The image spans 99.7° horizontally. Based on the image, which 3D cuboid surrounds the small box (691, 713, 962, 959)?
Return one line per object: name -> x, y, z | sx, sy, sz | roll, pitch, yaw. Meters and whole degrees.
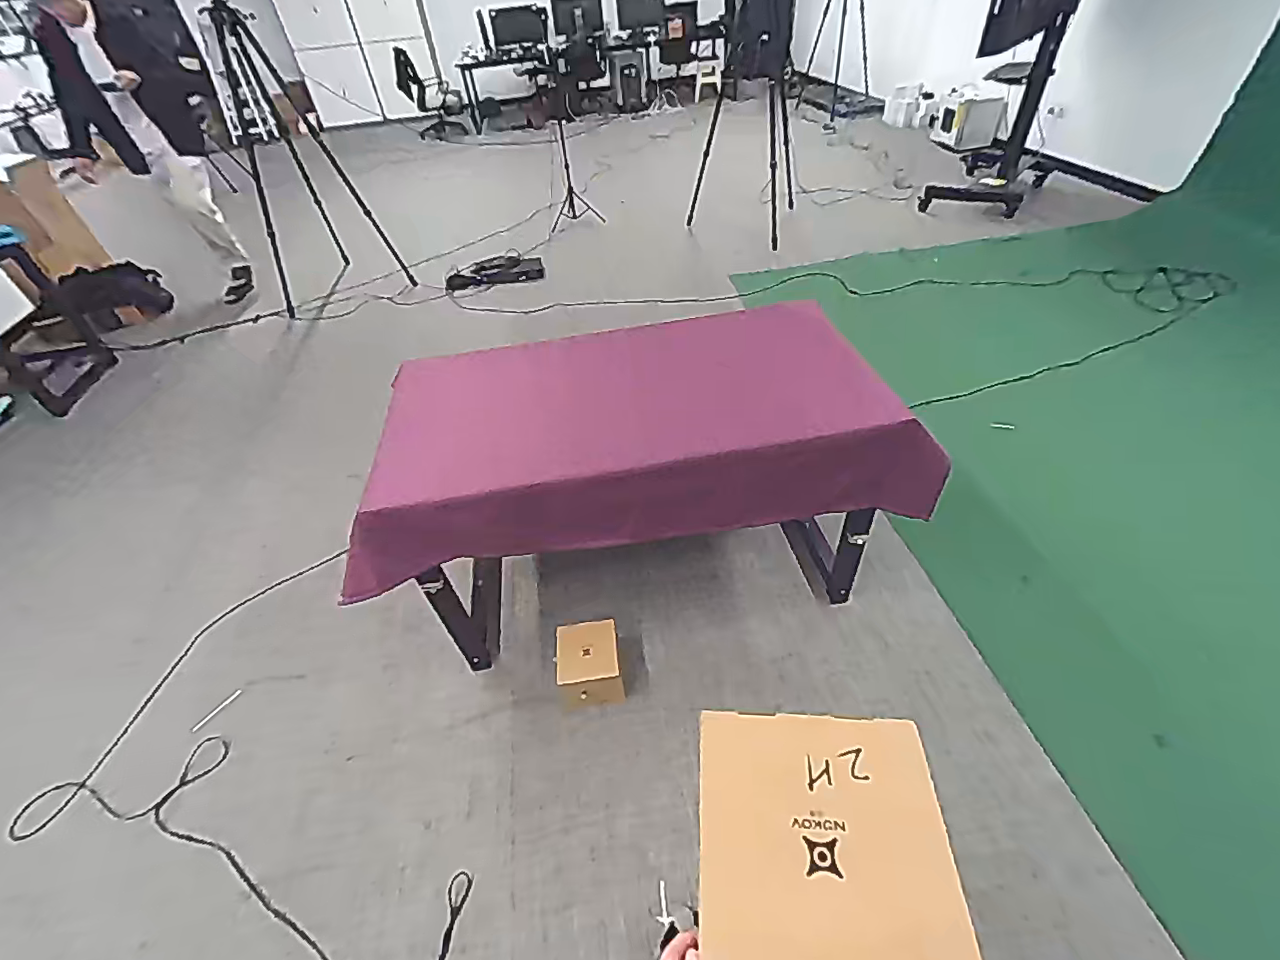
small box -> 0.128, 0.311, 0.429 | 0.168, 0.176, 0.179 | 1, 44, 8
